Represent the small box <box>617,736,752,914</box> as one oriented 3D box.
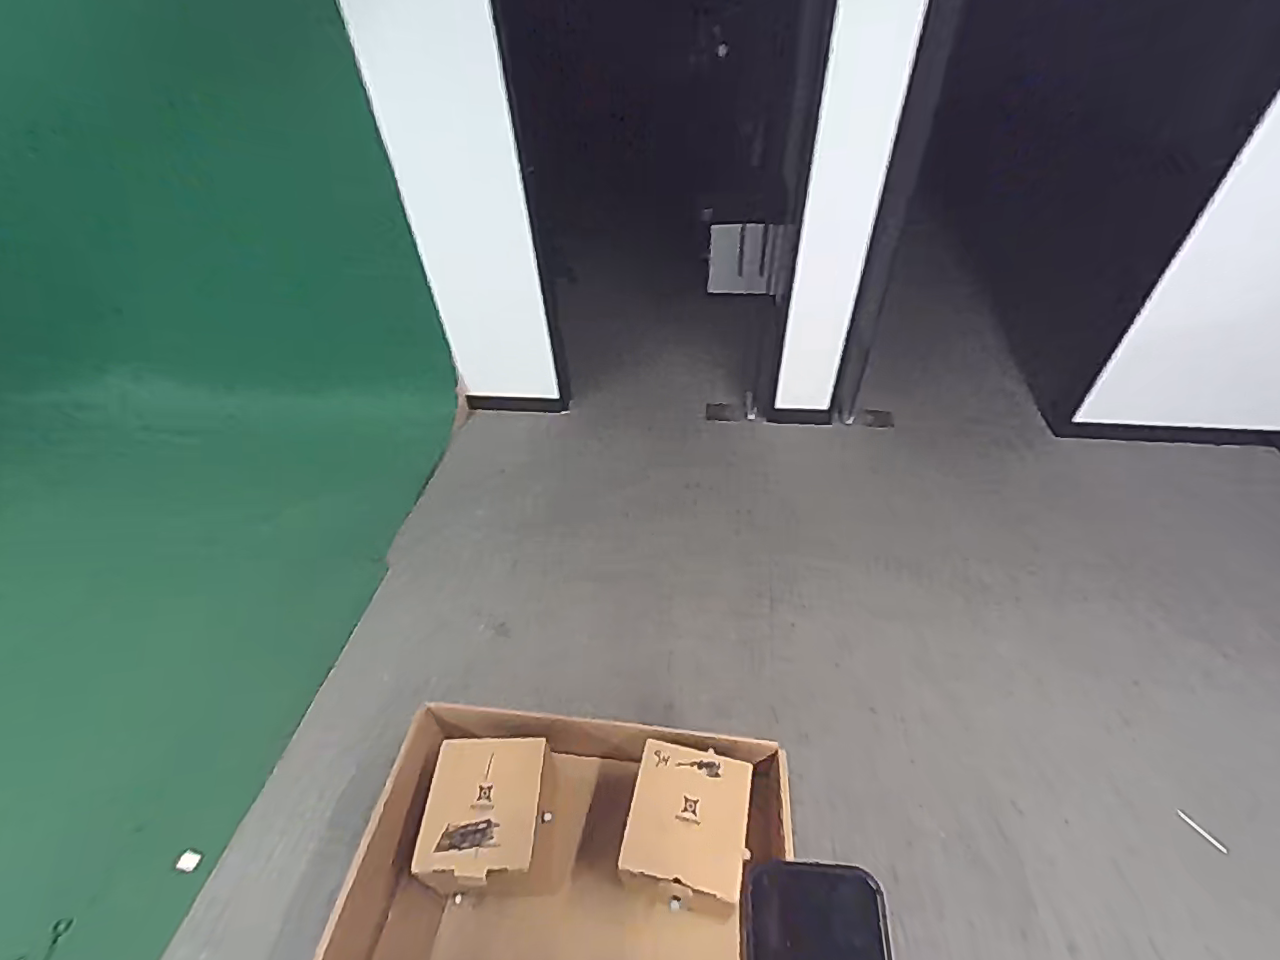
[{"bbox_3d":[0.073,0.527,0.823,0.168,0.176,0.179,9,46,12],"label":"small box"}]
